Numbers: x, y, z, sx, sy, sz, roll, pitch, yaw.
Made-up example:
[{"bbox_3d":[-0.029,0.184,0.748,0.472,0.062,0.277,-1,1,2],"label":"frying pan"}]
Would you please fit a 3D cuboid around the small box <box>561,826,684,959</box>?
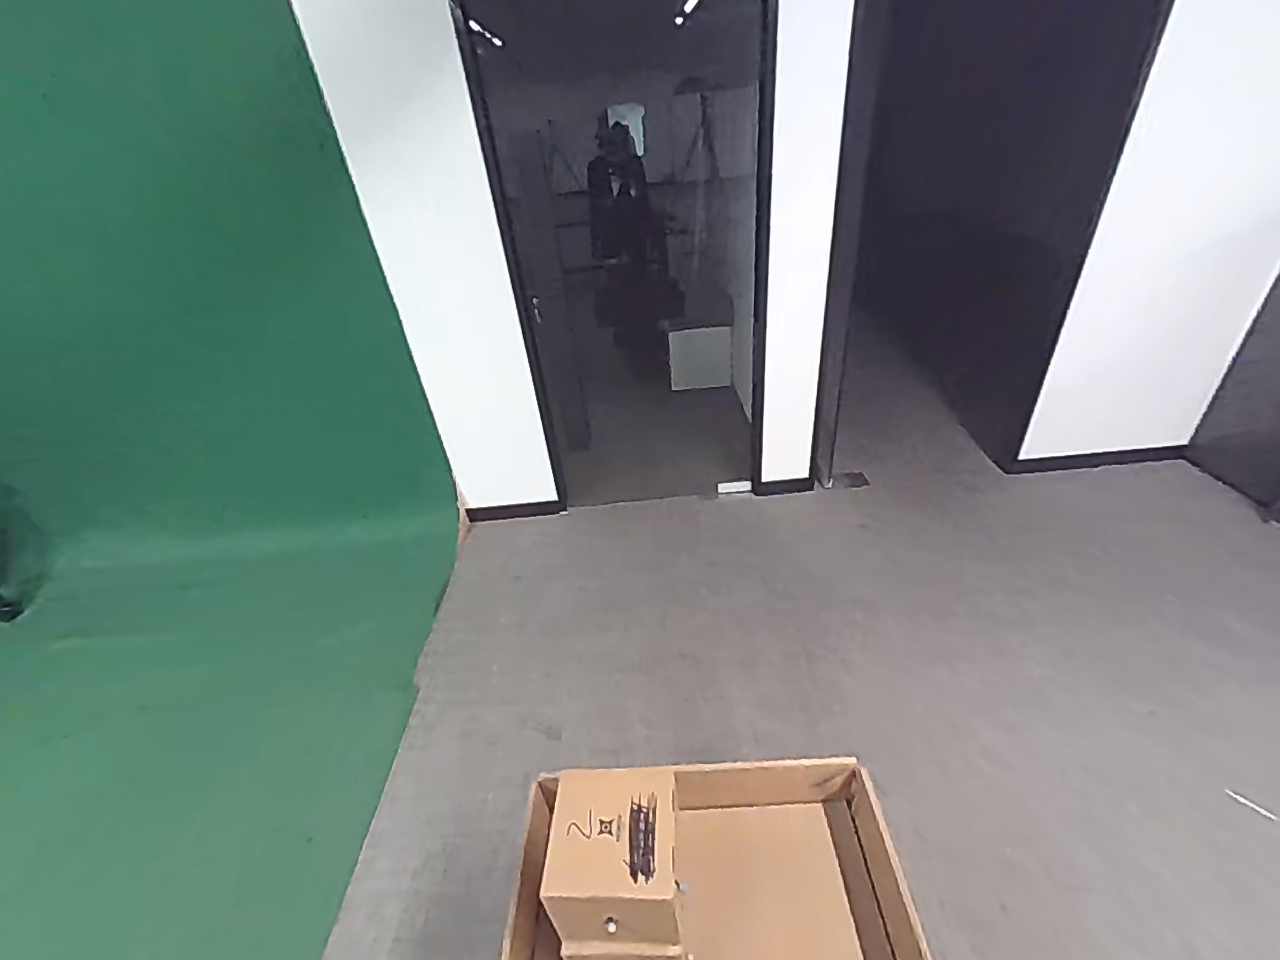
[{"bbox_3d":[-0.018,0.687,0.874,0.179,0.176,0.168,-4,33,4],"label":"small box"}]
